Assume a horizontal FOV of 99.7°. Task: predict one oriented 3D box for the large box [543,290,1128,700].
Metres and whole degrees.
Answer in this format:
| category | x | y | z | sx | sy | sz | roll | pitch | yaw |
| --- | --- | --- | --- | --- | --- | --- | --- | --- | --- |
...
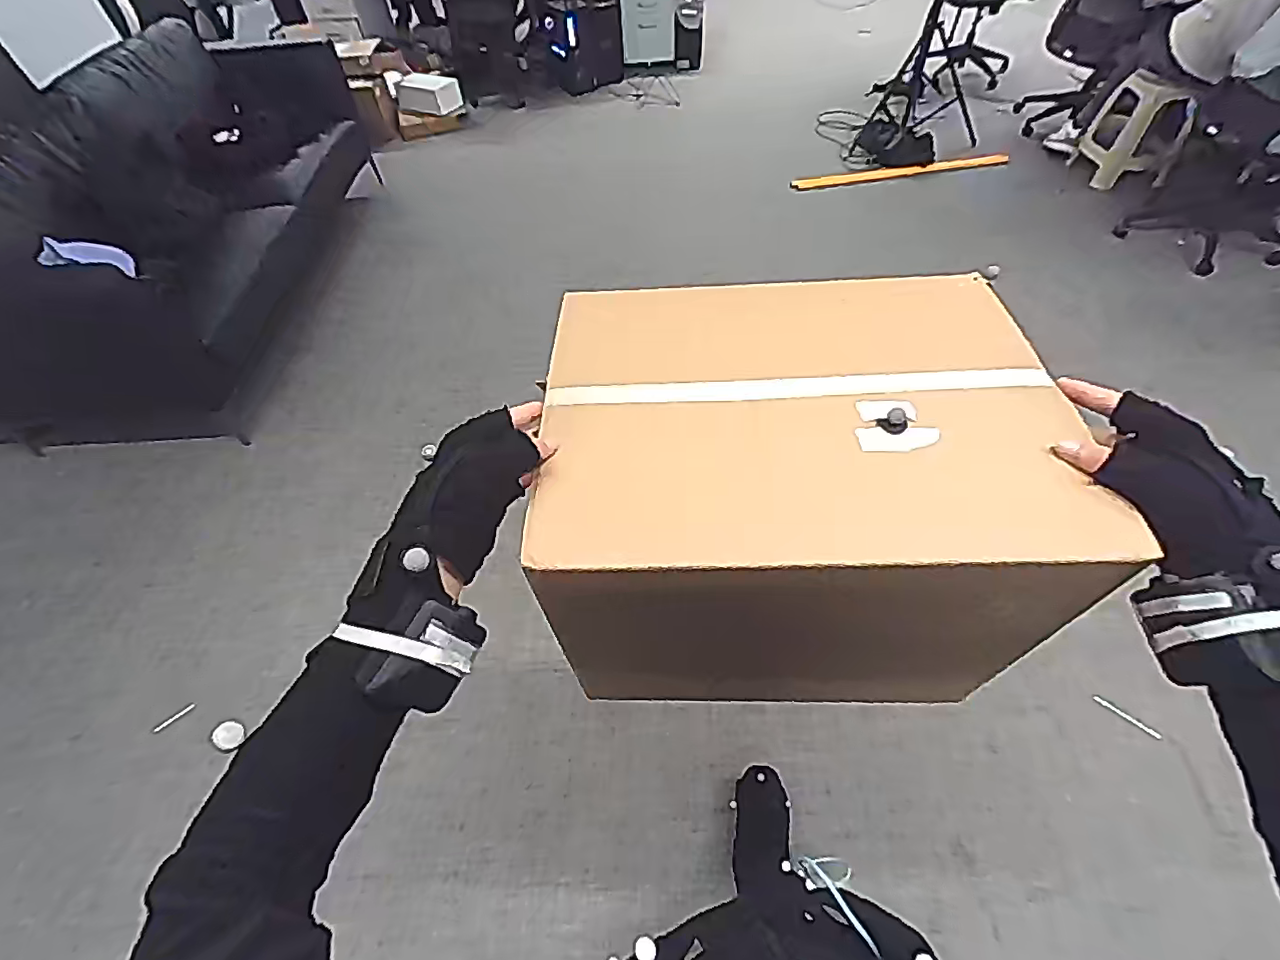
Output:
| category | x | y | z | sx | sy | sz | roll | pitch | yaw |
| --- | --- | --- | --- | --- | --- | --- | --- | --- | --- |
| large box | 0.134 | 0.027 | 0.572 | 0.408 | 0.320 | 0.320 | -1 | 53 | 3 |
